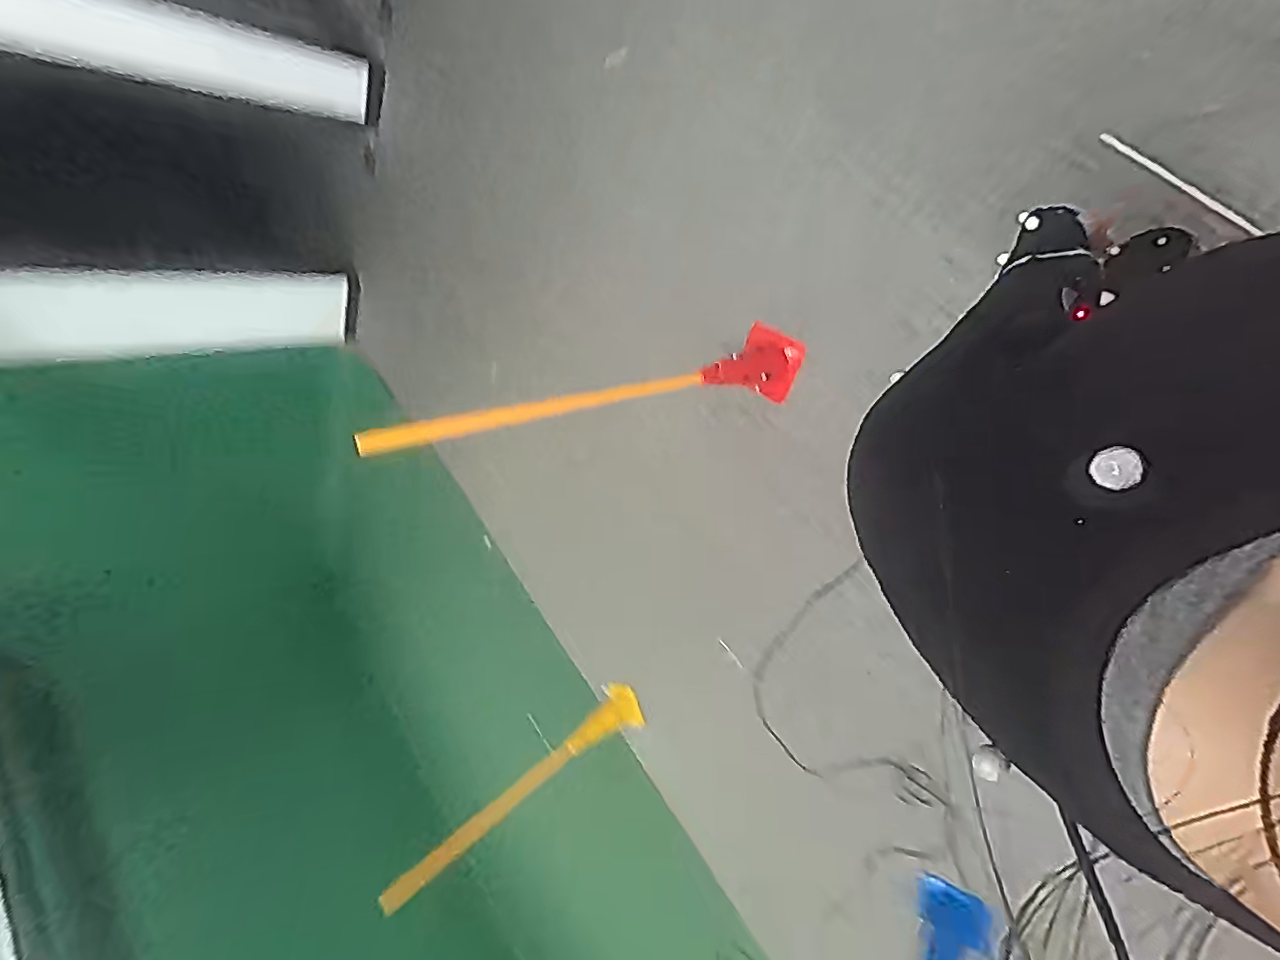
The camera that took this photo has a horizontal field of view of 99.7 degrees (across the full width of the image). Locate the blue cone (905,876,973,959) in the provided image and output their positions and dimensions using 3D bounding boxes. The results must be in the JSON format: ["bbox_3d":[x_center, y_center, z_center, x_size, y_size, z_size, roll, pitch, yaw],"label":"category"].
[{"bbox_3d":[0.840,1.399,1.587,0.193,0.380,0.192,5,107,40],"label":"blue cone"}]
